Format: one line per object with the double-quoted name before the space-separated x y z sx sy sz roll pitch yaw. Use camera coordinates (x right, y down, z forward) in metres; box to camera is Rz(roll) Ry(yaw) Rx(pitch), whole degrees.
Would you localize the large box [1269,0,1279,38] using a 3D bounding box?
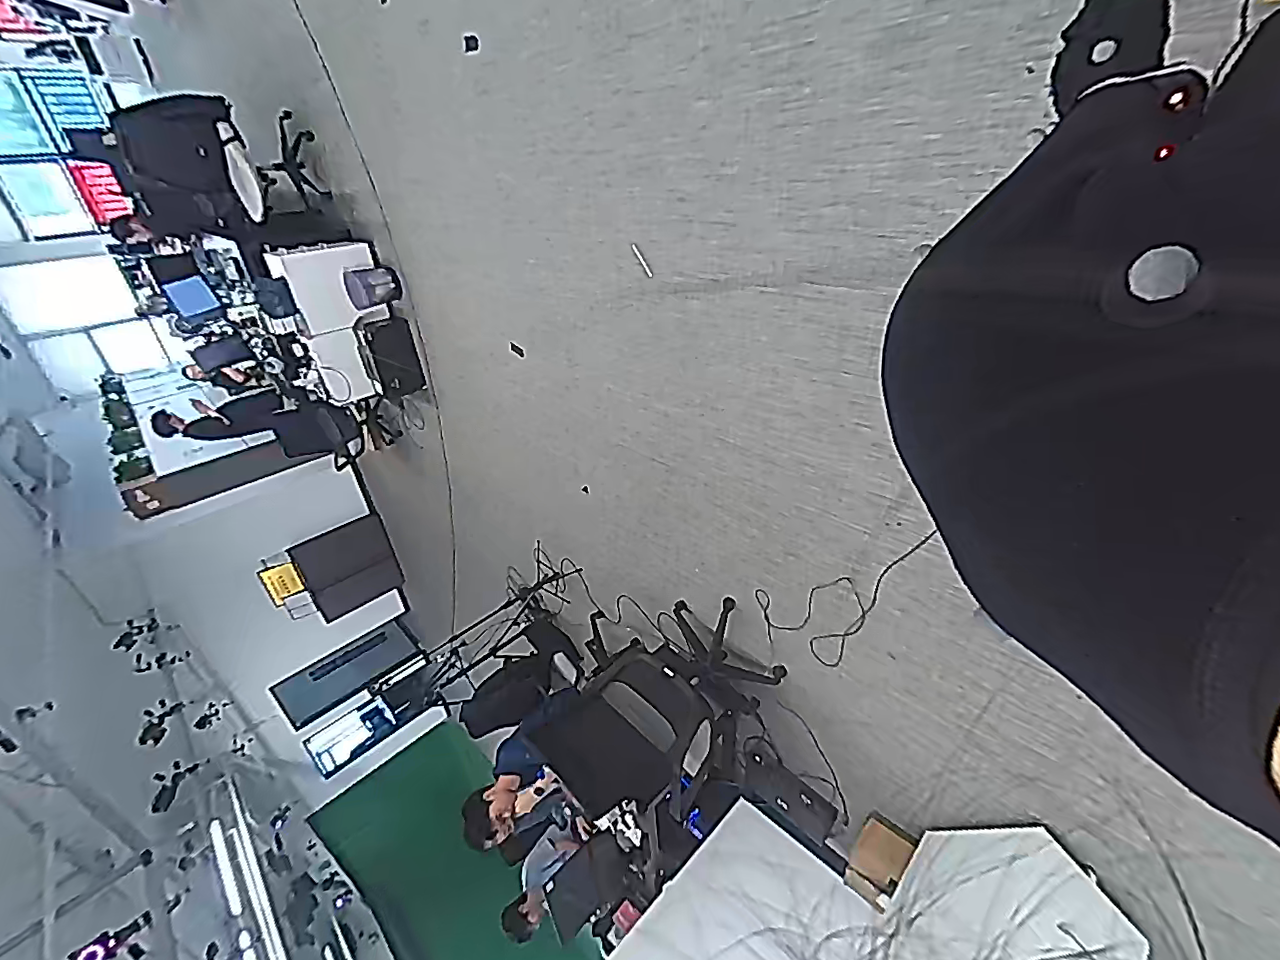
"large box" 1.026 -0.725 0.576 0.408 0.320 0.320 22 130 40
